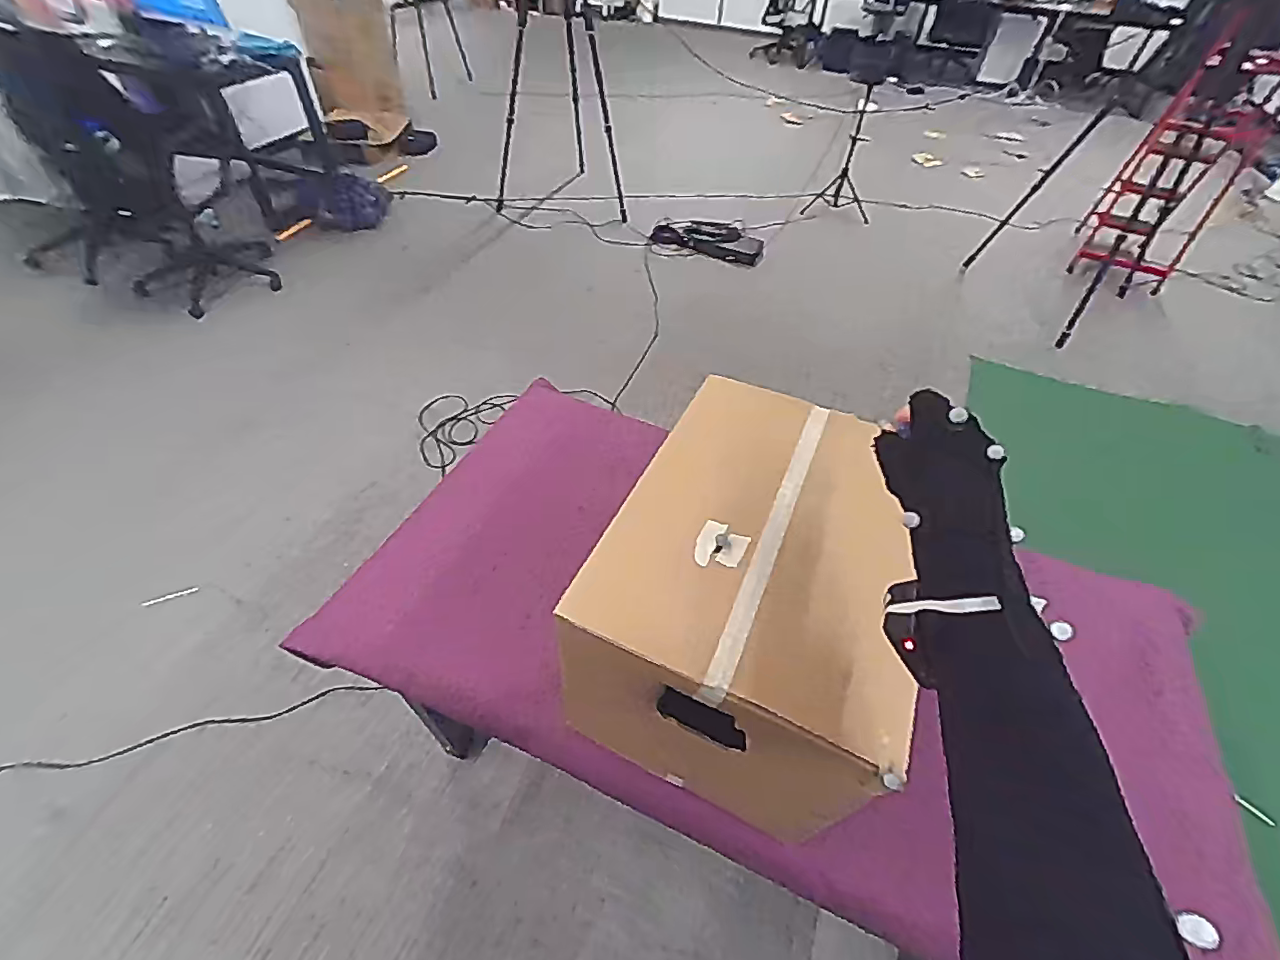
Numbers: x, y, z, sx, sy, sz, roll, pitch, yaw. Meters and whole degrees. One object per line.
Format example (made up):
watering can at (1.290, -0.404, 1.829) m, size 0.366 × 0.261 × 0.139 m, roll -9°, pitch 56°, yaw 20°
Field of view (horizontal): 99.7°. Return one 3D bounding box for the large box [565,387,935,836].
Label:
large box at (0.138, 0.153, 0.701) m, size 0.320 × 0.320 × 0.408 m, roll 22°, pitch 51°, yaw 15°
